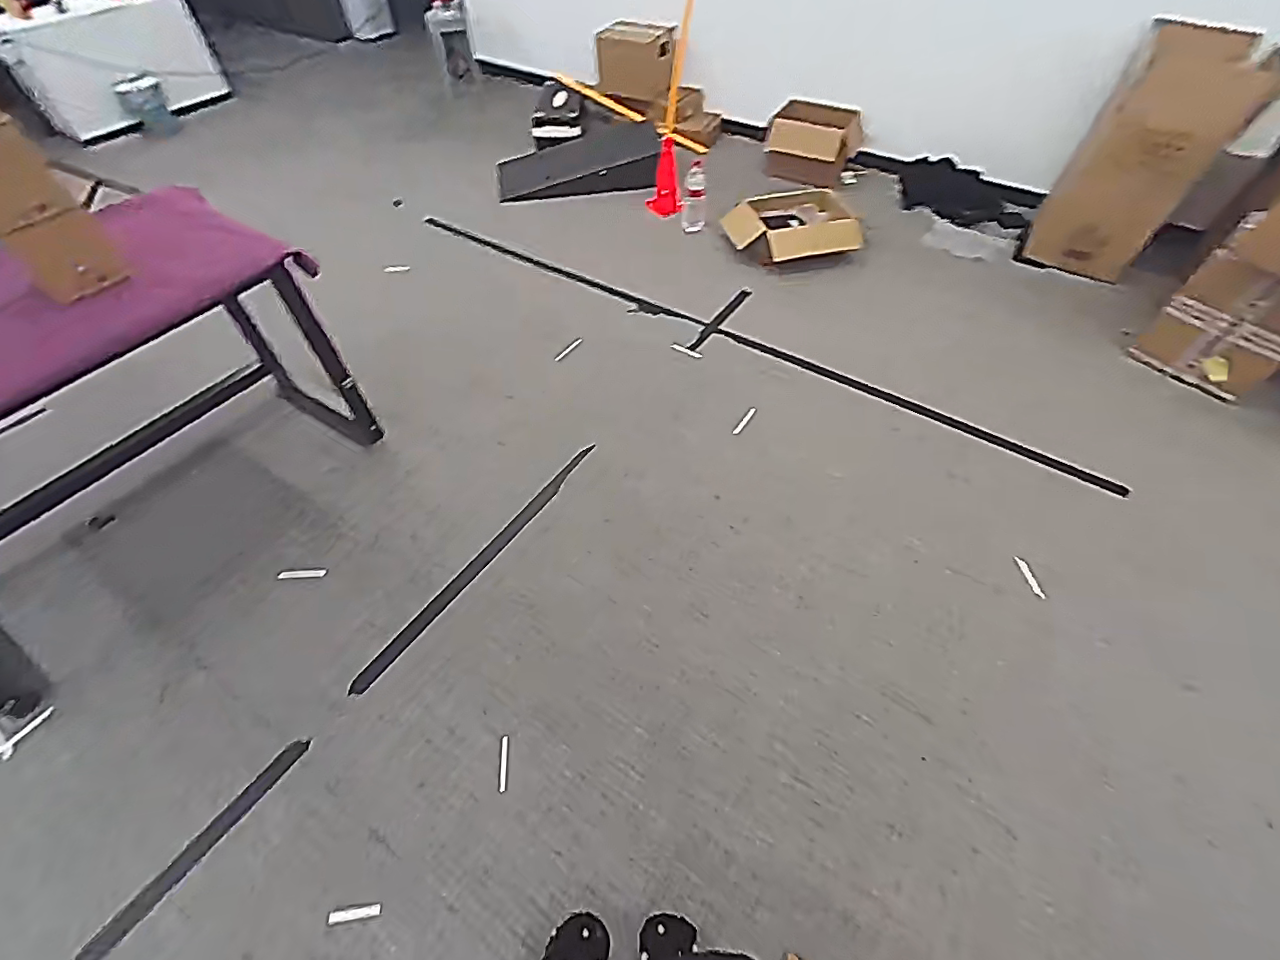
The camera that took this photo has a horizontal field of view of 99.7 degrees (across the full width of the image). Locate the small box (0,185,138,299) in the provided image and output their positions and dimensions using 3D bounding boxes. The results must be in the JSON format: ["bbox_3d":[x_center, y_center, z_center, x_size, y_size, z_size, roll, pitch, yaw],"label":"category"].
[{"bbox_3d":[-1.340,-0.550,1.255,0.179,0.176,0.168,34,61,23],"label":"small box"}]
